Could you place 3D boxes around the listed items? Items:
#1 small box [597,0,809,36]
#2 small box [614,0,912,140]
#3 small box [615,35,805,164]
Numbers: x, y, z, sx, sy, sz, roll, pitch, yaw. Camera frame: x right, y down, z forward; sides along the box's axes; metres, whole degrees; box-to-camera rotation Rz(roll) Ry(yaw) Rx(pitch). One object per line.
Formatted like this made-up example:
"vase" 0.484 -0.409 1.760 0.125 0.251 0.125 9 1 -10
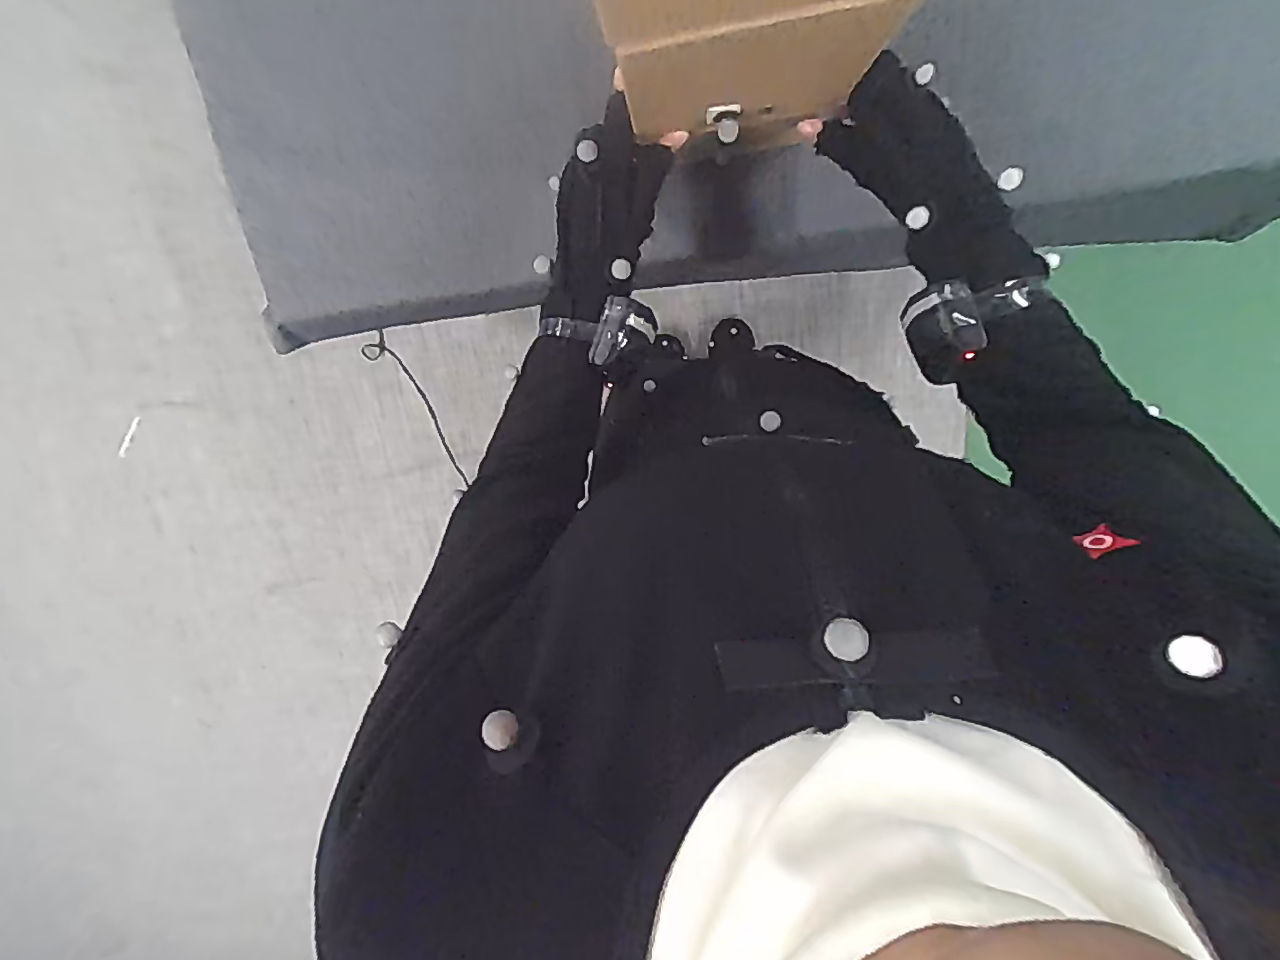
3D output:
"small box" 0.049 -0.306 0.200 0.179 0.176 0.168 -7 106 6
"small box" 0.060 -0.349 0.341 0.168 0.176 0.179 -7 107 7
"small box" 0.066 -0.411 0.492 0.179 0.176 0.168 -7 105 4
